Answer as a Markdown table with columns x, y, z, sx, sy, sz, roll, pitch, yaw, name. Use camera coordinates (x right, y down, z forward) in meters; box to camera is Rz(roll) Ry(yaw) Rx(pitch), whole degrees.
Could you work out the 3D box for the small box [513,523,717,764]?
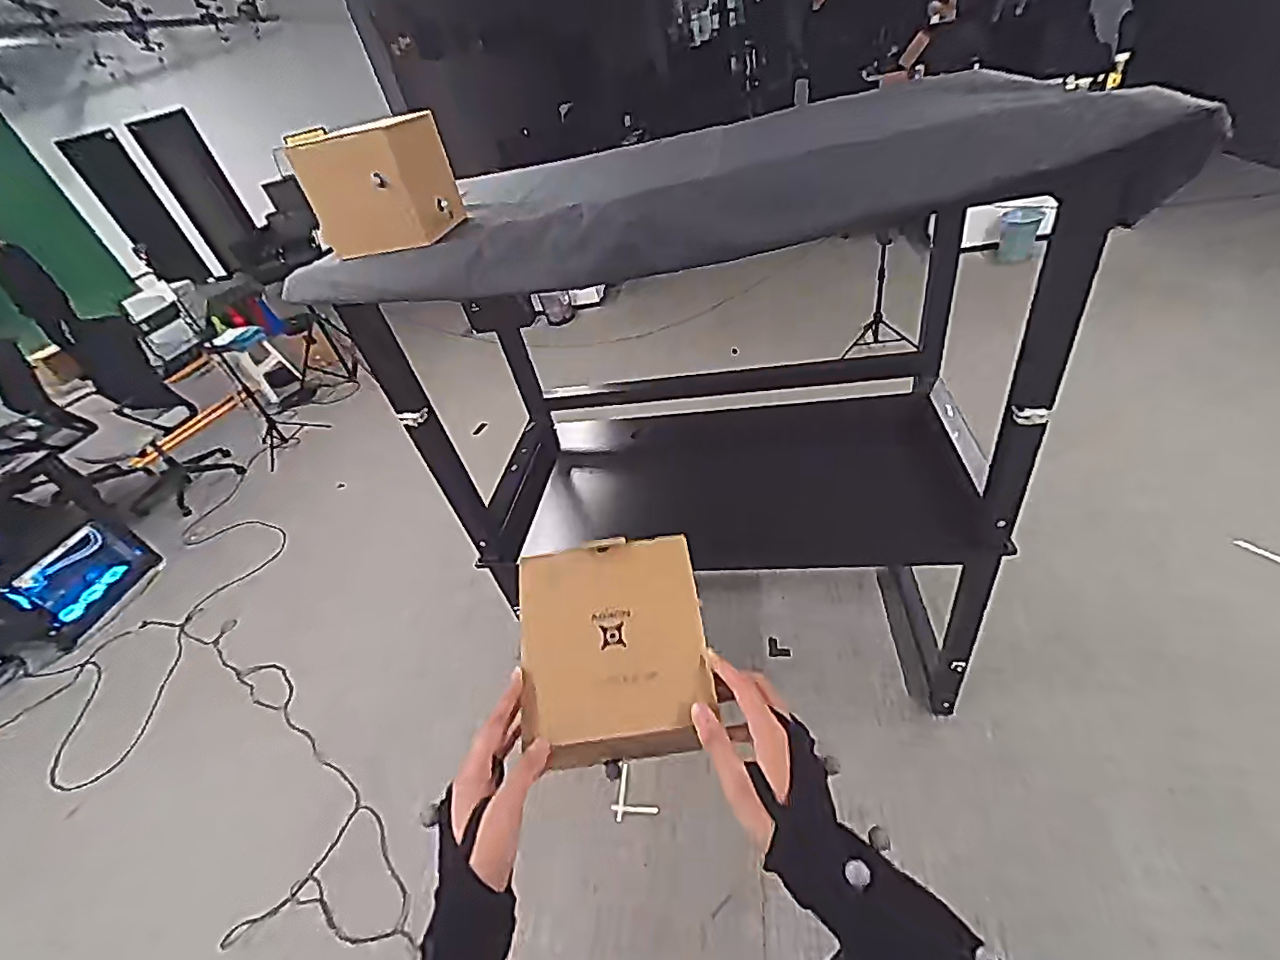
| x | y | z | sx | sy | sz | roll | pitch | yaw | name |
| --- | --- | --- | --- | --- | --- | --- | --- | --- | --- |
| -0.028 | 0.166 | 0.541 | 0.168 | 0.176 | 0.179 | -7 | 56 | -3 | small box |
